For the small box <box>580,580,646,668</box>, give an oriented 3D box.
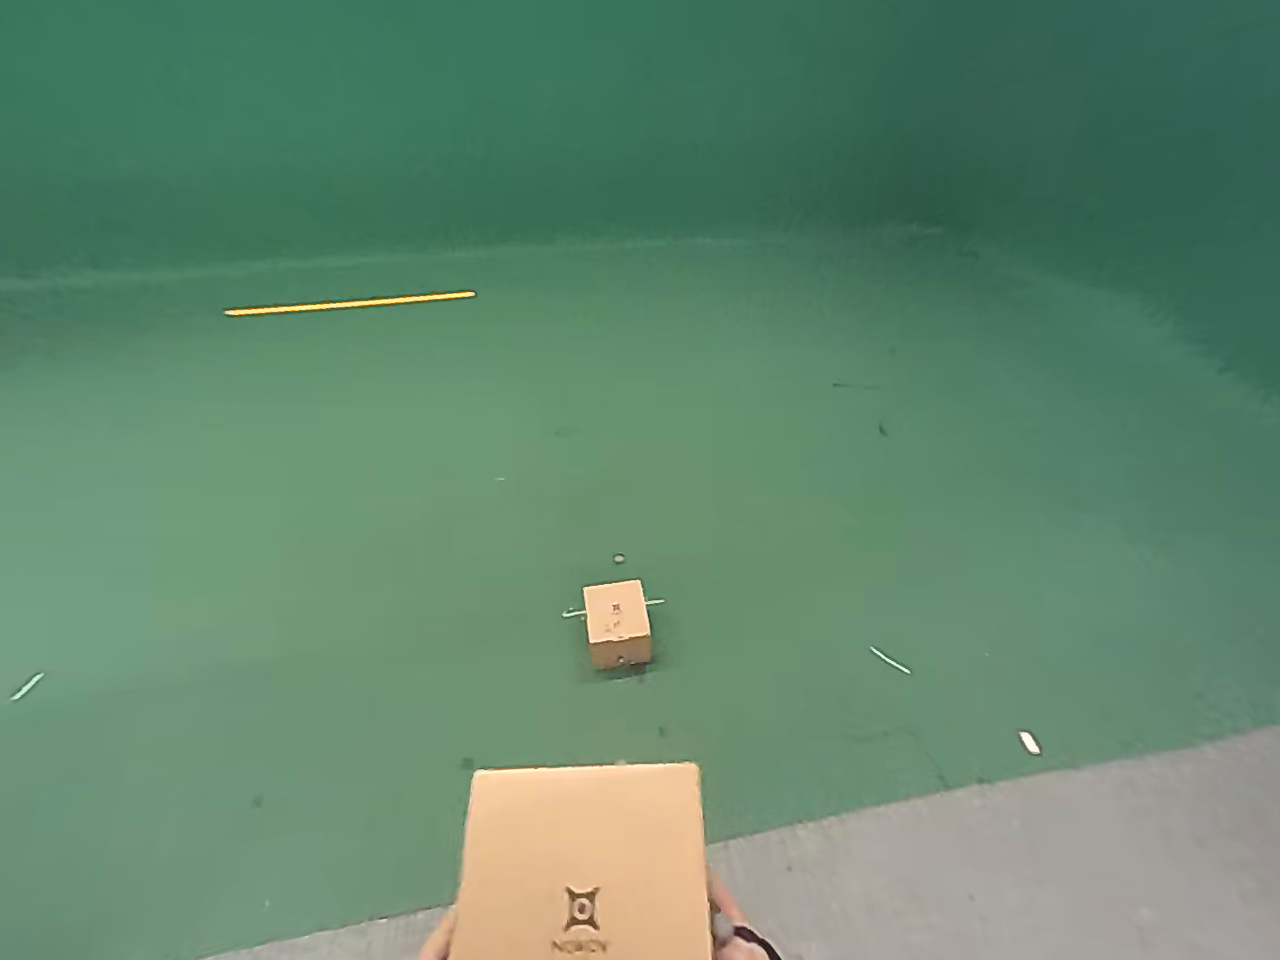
[{"bbox_3d":[-0.081,0.409,1.532,0.168,0.176,0.179,-6,48,-7],"label":"small box"}]
